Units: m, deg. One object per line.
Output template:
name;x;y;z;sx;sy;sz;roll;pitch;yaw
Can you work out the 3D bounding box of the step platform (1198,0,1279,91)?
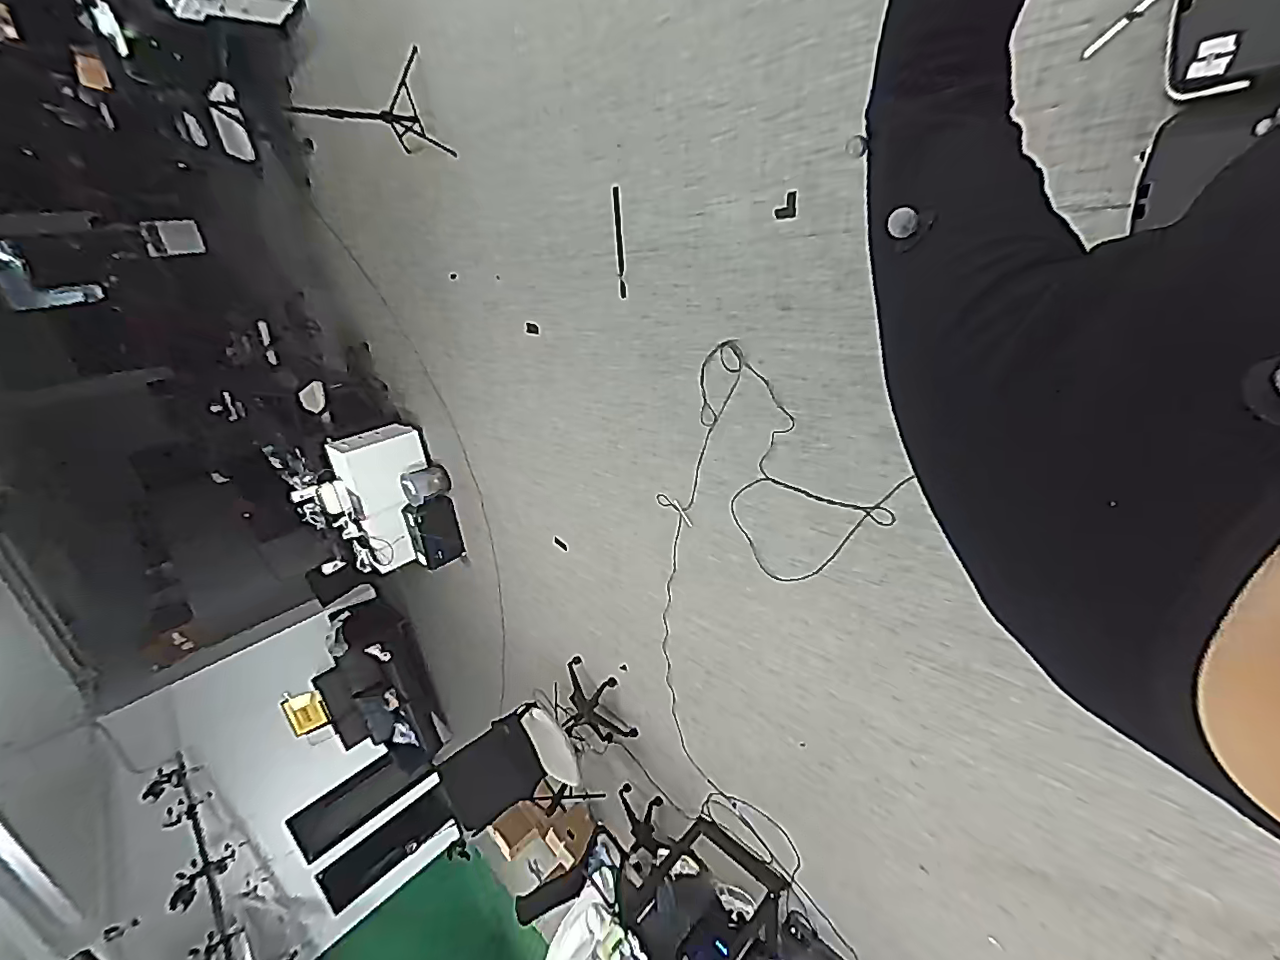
step platform;1.174;-0.735;0.656;0.684;0.204;0.286;15;121;42
